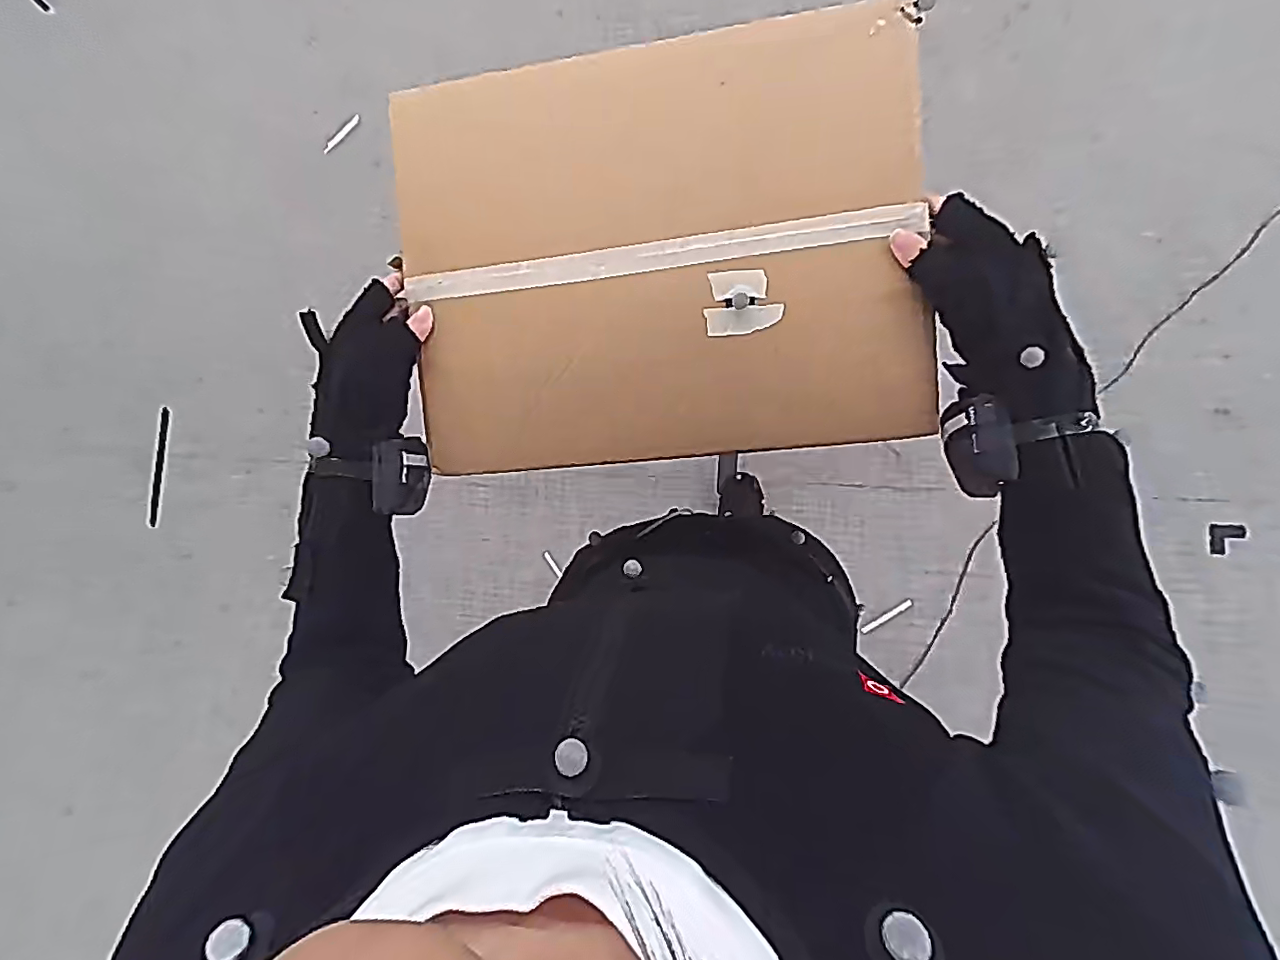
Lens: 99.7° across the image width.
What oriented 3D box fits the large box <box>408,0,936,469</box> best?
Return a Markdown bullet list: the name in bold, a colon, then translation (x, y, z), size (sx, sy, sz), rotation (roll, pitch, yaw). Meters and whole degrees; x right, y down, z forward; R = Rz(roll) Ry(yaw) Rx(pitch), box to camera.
- **large box**: translation (0.034, -0.193, 0.578), size (0.408, 0.320, 0.320), rotation (-5, 95, 8)
